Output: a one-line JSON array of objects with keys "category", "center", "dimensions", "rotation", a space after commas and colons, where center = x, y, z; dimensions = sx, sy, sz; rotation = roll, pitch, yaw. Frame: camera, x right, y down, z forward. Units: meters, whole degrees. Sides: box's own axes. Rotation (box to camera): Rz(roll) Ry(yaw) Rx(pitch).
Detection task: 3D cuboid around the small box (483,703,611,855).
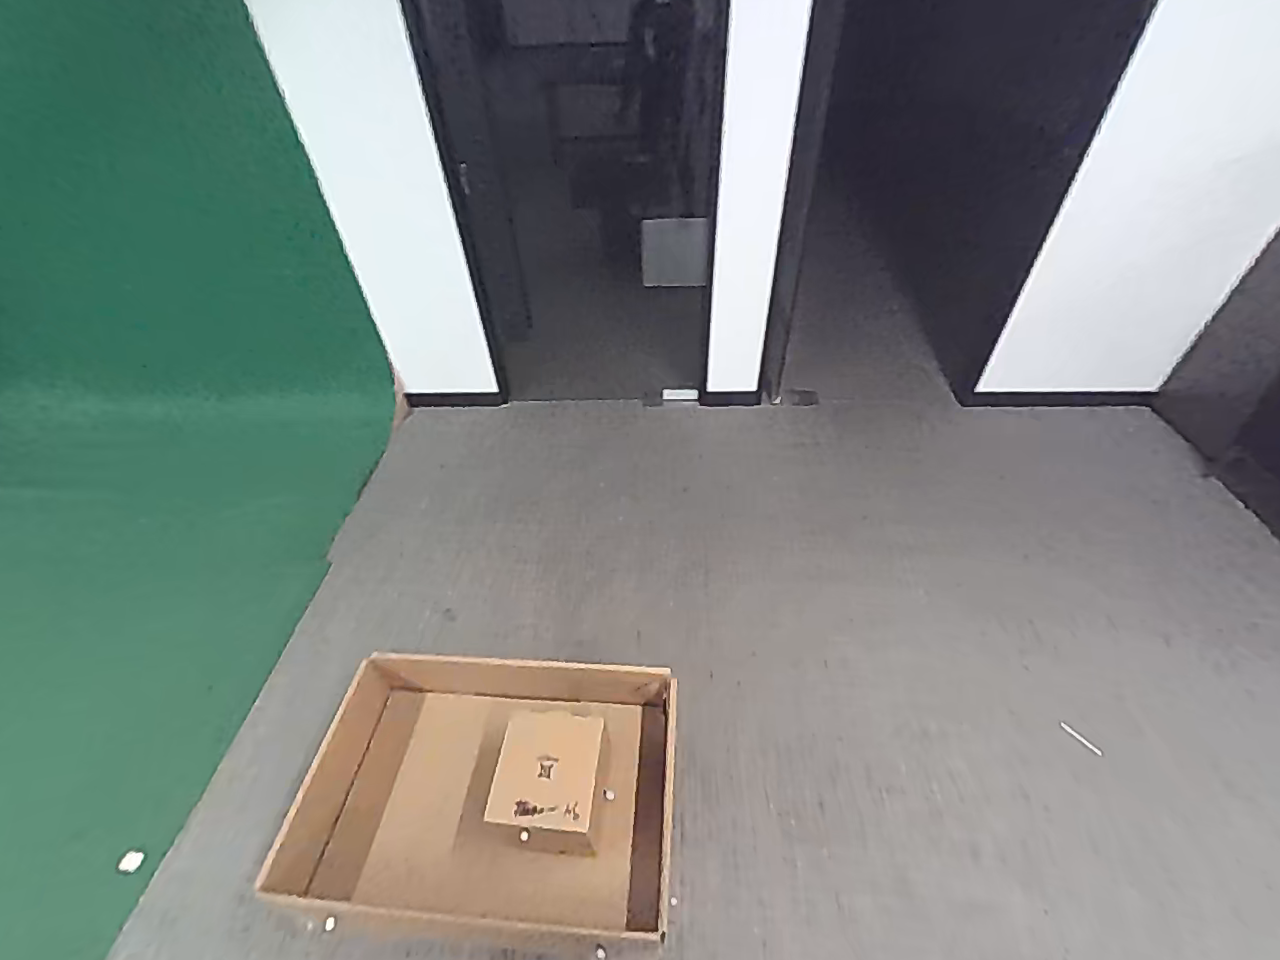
[{"category": "small box", "center": [-0.145, 0.510, 0.925], "dimensions": [0.168, 0.176, 0.179], "rotation": [2, 43, 7]}]
